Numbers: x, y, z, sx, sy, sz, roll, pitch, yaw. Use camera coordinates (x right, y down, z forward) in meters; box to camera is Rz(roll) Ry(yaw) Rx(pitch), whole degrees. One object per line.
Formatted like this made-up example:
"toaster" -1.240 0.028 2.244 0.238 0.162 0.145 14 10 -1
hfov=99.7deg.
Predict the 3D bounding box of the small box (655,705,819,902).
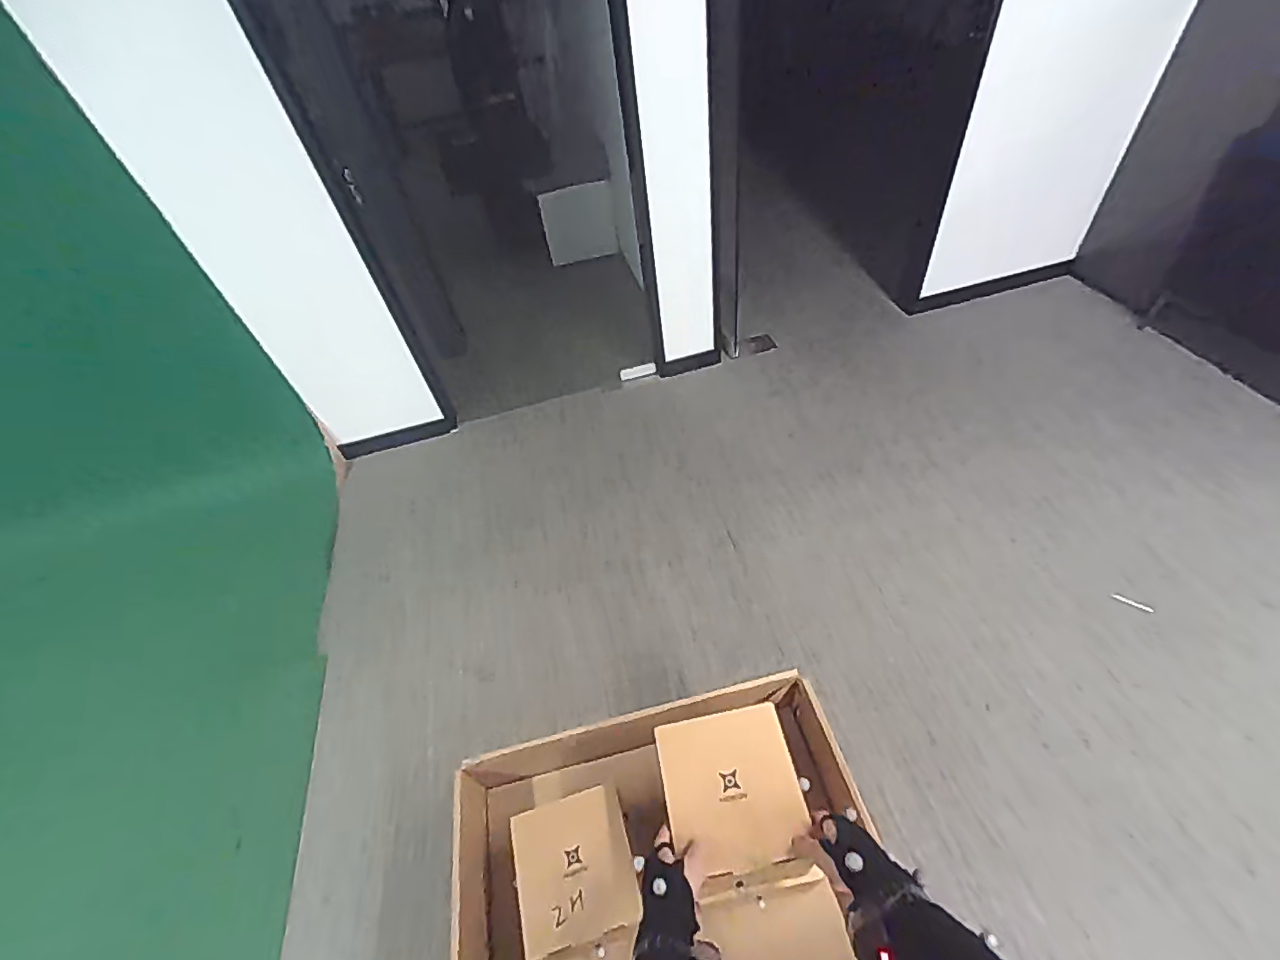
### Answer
"small box" 0.119 0.430 0.719 0.168 0.176 0.179 -12 46 -1
